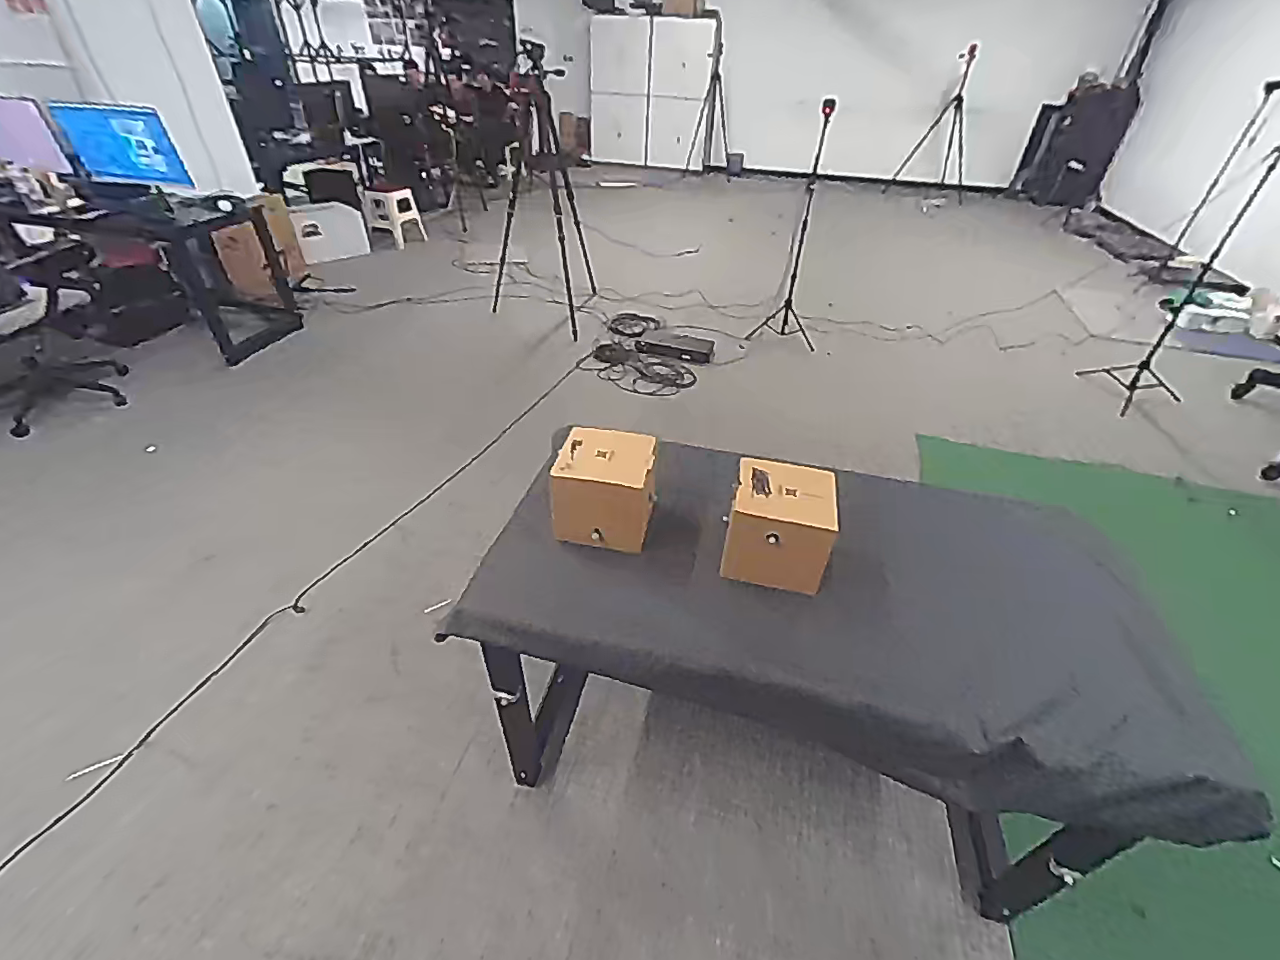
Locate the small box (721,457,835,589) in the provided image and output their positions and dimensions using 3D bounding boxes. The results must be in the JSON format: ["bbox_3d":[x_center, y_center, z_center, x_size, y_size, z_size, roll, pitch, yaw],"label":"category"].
[{"bbox_3d":[0.254,0.081,1.015,0.179,0.176,0.168,11,39,9],"label":"small box"}]

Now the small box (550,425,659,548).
[{"bbox_3d":[-0.067,0.014,1.078,0.179,0.176,0.168,9,39,7],"label":"small box"}]
